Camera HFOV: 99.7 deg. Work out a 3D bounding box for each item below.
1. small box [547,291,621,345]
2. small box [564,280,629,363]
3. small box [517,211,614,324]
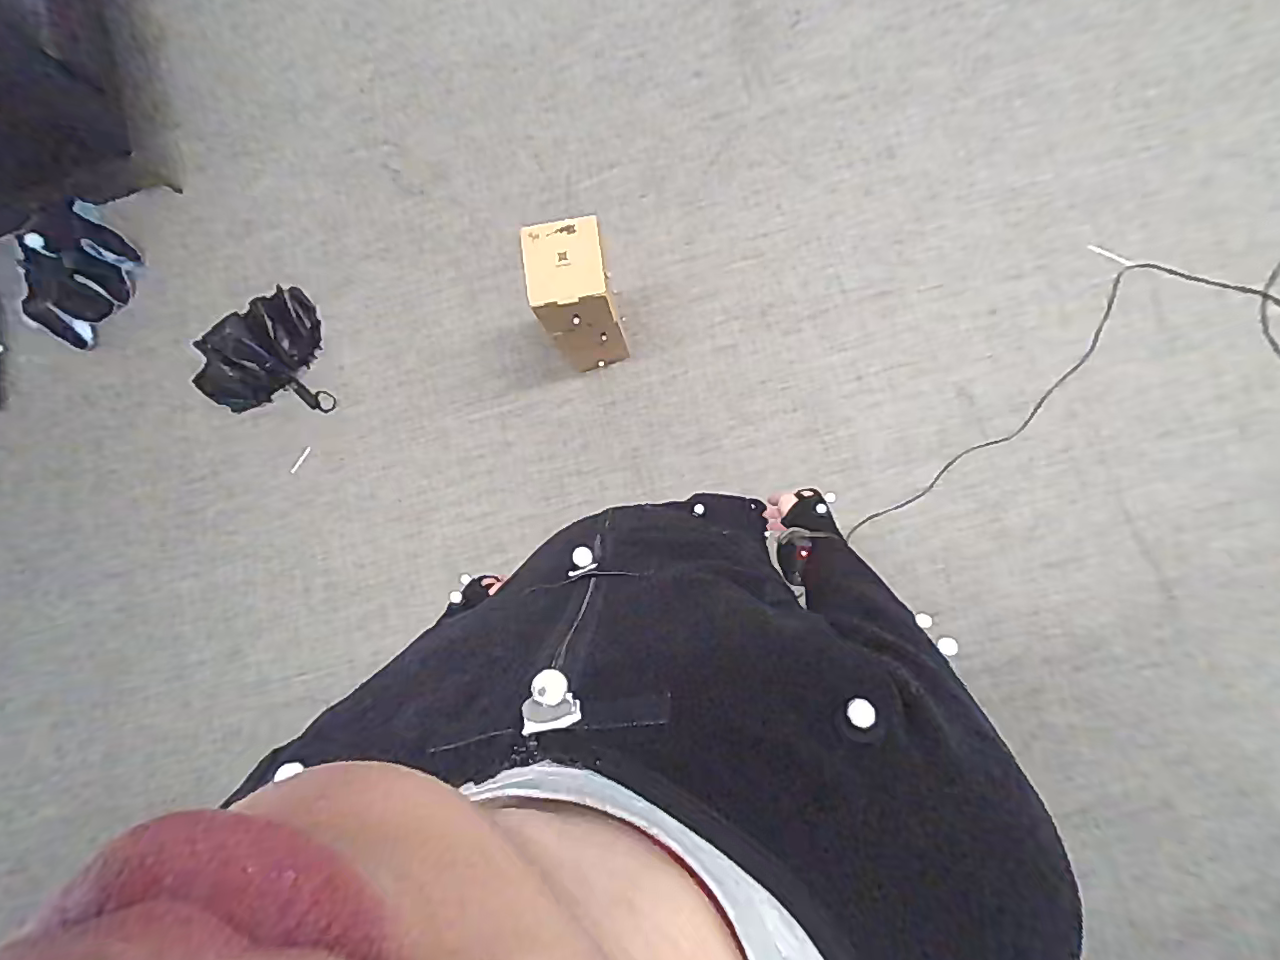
[{"bbox_3d":[-0.150,-0.452,1.356,0.168,0.176,0.179,-15,85,3],"label":"small box"},{"bbox_3d":[-0.136,-0.450,1.517,0.168,0.176,0.179,-16,87,5],"label":"small box"},{"bbox_3d":[-0.156,-0.457,1.193,0.168,0.176,0.179,-8,88,5],"label":"small box"}]
